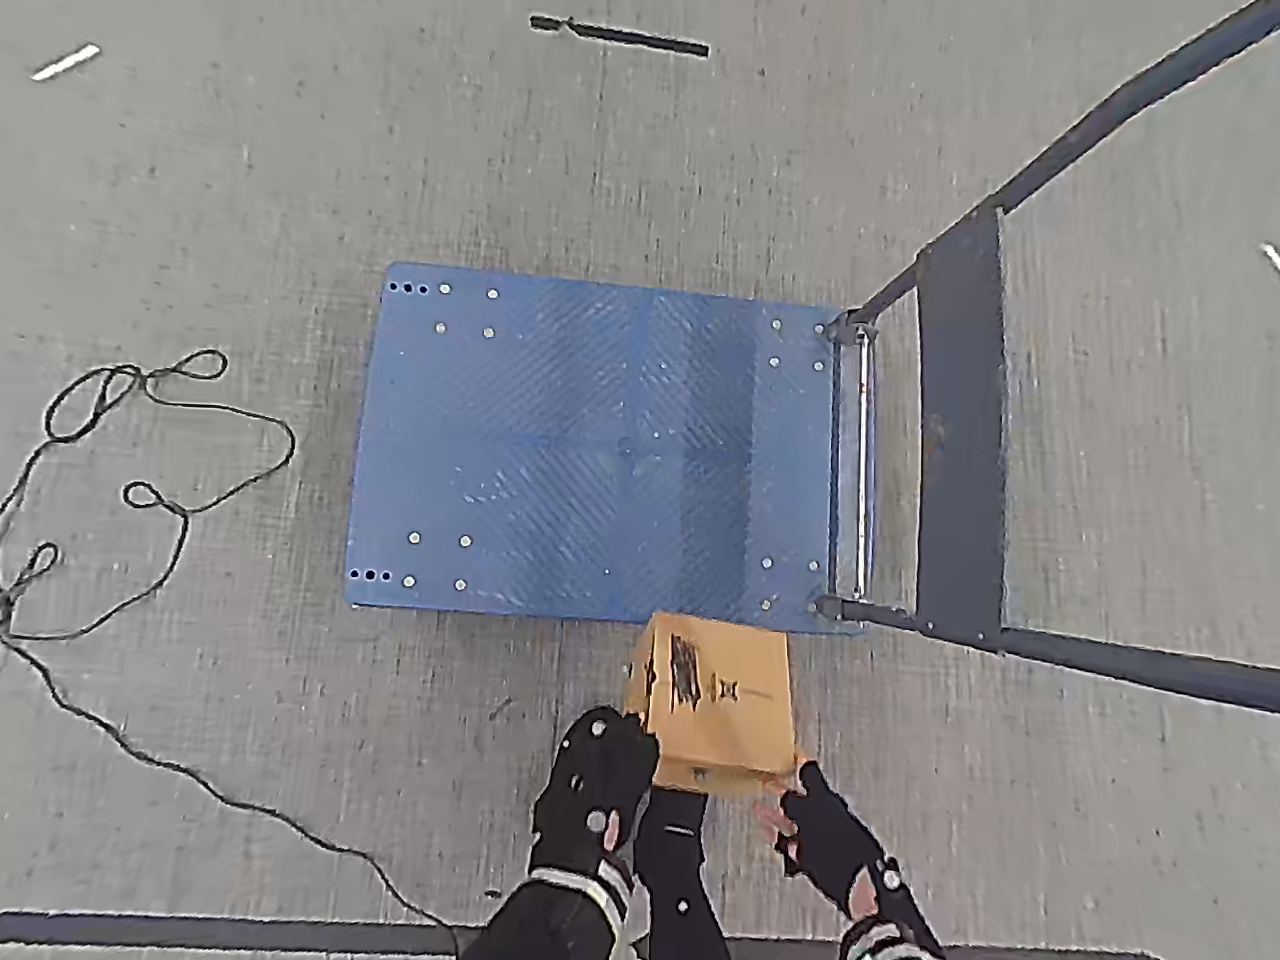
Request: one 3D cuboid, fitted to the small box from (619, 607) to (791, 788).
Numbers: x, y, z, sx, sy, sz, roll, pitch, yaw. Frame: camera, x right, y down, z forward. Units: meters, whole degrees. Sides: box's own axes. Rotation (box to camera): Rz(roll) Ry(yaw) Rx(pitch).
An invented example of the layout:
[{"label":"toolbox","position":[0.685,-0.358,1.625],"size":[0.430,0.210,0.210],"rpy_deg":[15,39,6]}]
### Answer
[{"label":"small box","position":[0.076,0.287,0.700],"size":[0.179,0.176,0.168],"rpy_deg":[12,52,-6]}]
